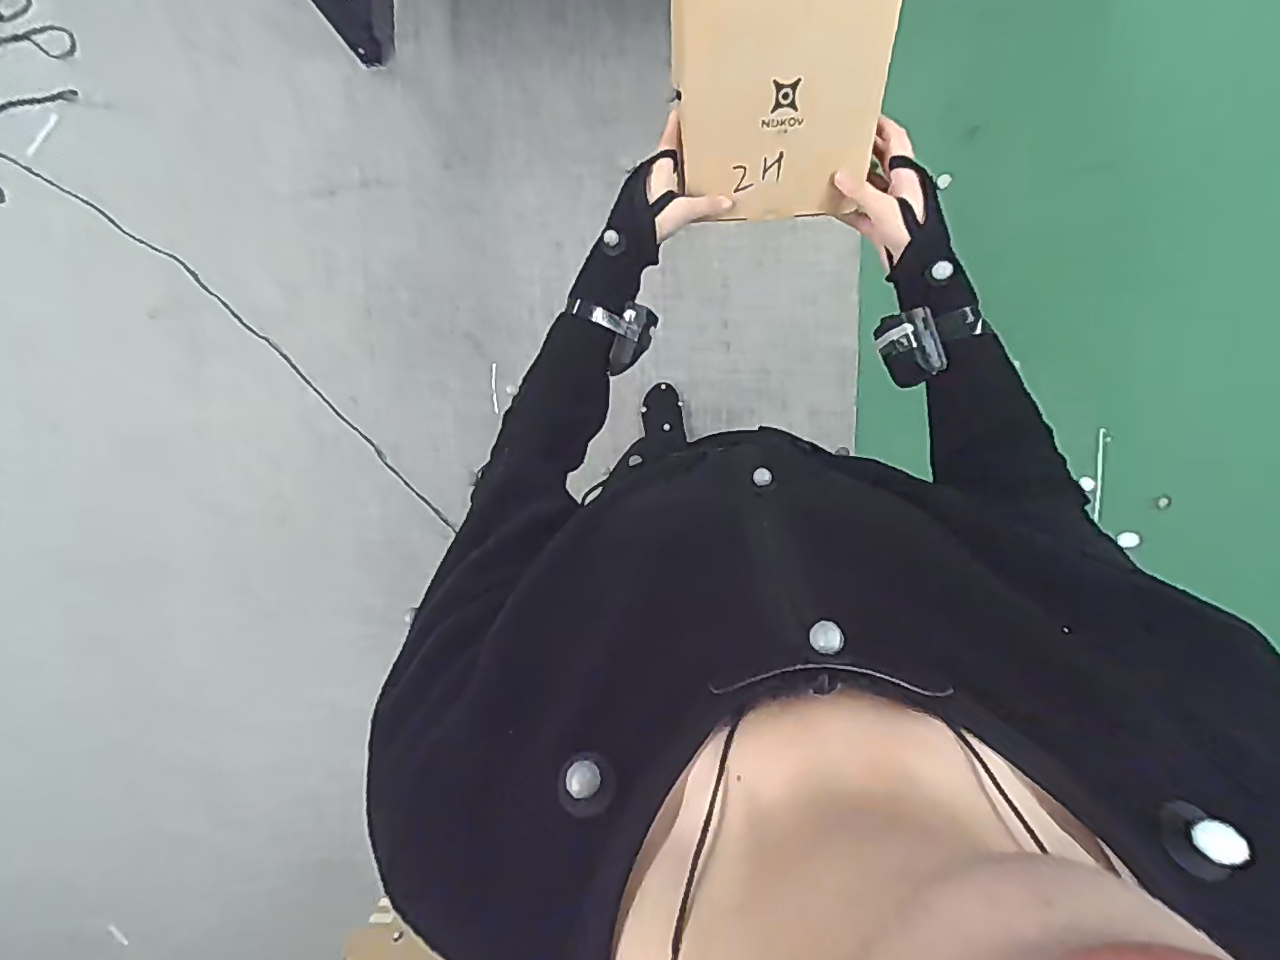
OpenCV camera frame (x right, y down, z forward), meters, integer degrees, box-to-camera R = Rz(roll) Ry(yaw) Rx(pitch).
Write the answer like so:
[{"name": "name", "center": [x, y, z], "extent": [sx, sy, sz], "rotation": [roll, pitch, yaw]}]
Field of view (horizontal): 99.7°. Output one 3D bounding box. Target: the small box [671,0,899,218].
[{"name": "small box", "center": [0.115, -0.365, 0.508], "extent": [0.168, 0.176, 0.179], "rotation": [-2, 131, 2]}]
